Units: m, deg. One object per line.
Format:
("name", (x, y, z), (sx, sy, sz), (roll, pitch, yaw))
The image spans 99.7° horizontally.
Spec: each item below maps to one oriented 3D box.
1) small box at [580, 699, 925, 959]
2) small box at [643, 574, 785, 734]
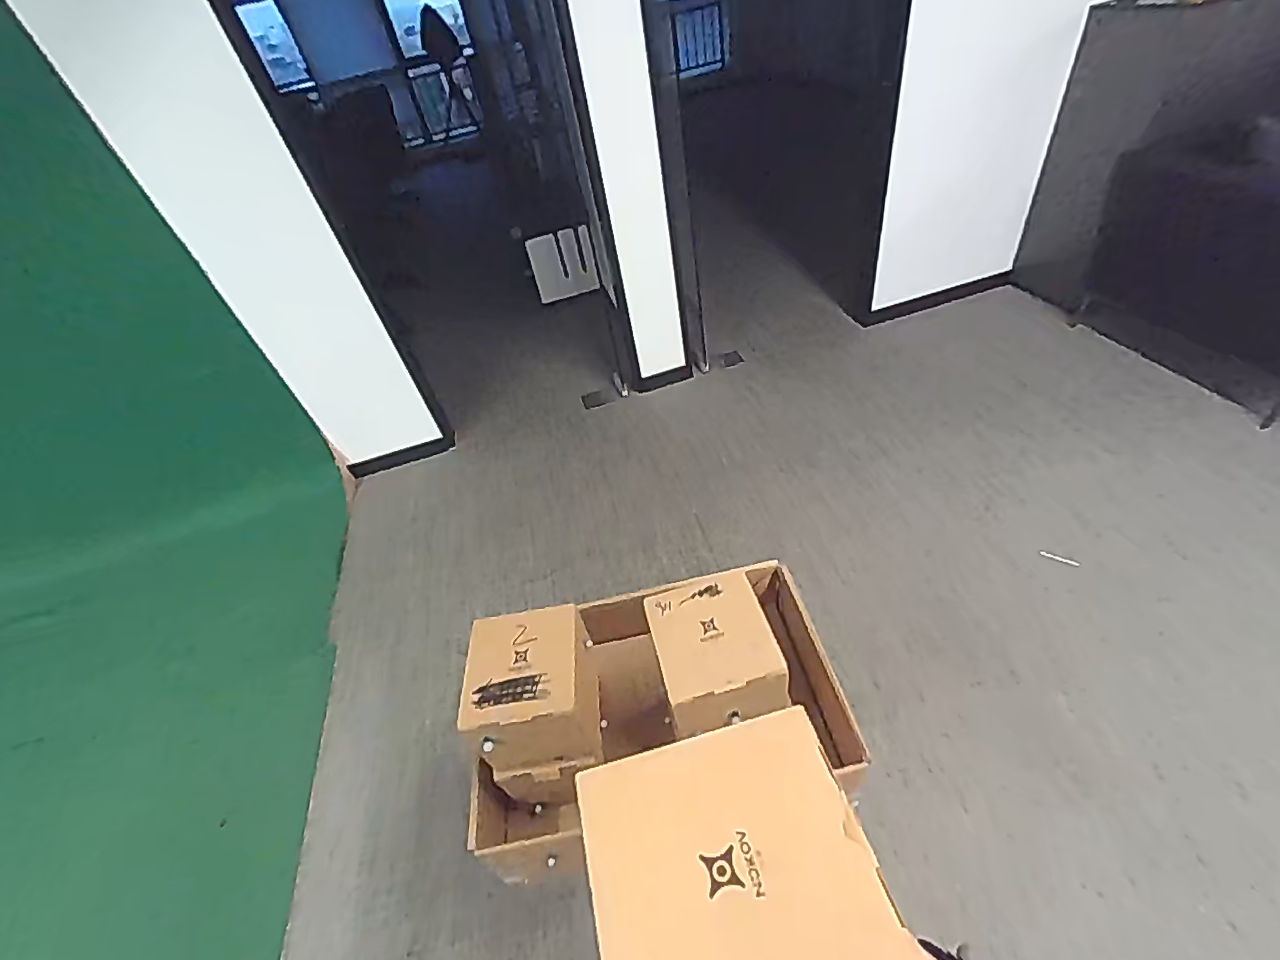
("small box", (0.068, 0.296, 0.395), (0.179, 0.176, 0.168), (-15, 44, -5))
("small box", (0.114, 0.279, 0.828), (0.168, 0.176, 0.179), (-15, 44, -2))
